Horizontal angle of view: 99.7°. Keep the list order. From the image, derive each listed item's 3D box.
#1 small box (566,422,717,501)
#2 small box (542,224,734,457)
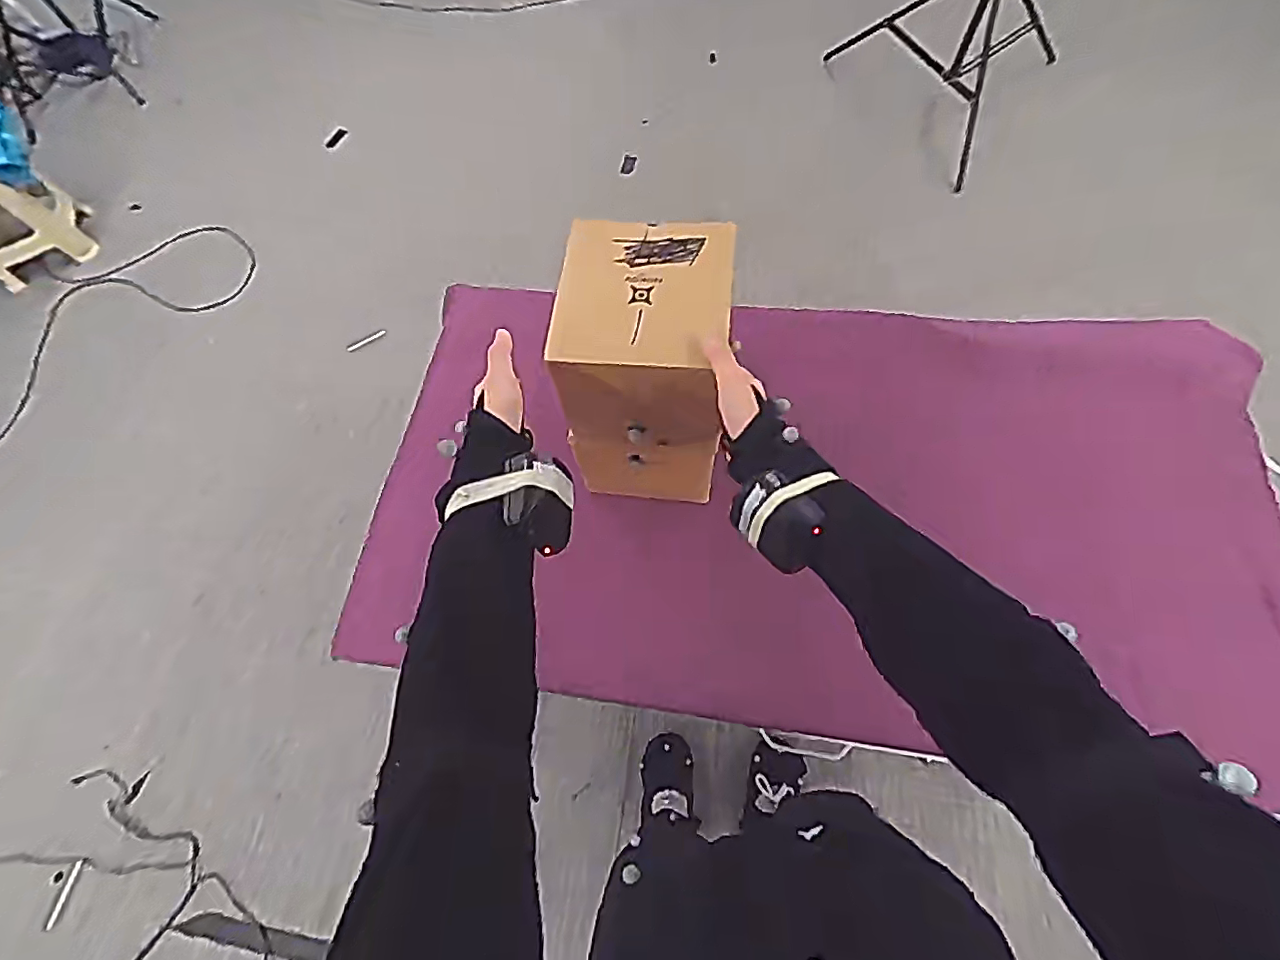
[{"bbox_3d":[0.014,-0.080,0.734,0.179,0.176,0.168,5,67,7],"label":"small box"},{"bbox_3d":[0.006,-0.144,0.583,0.168,0.176,0.179,4,68,7],"label":"small box"}]
